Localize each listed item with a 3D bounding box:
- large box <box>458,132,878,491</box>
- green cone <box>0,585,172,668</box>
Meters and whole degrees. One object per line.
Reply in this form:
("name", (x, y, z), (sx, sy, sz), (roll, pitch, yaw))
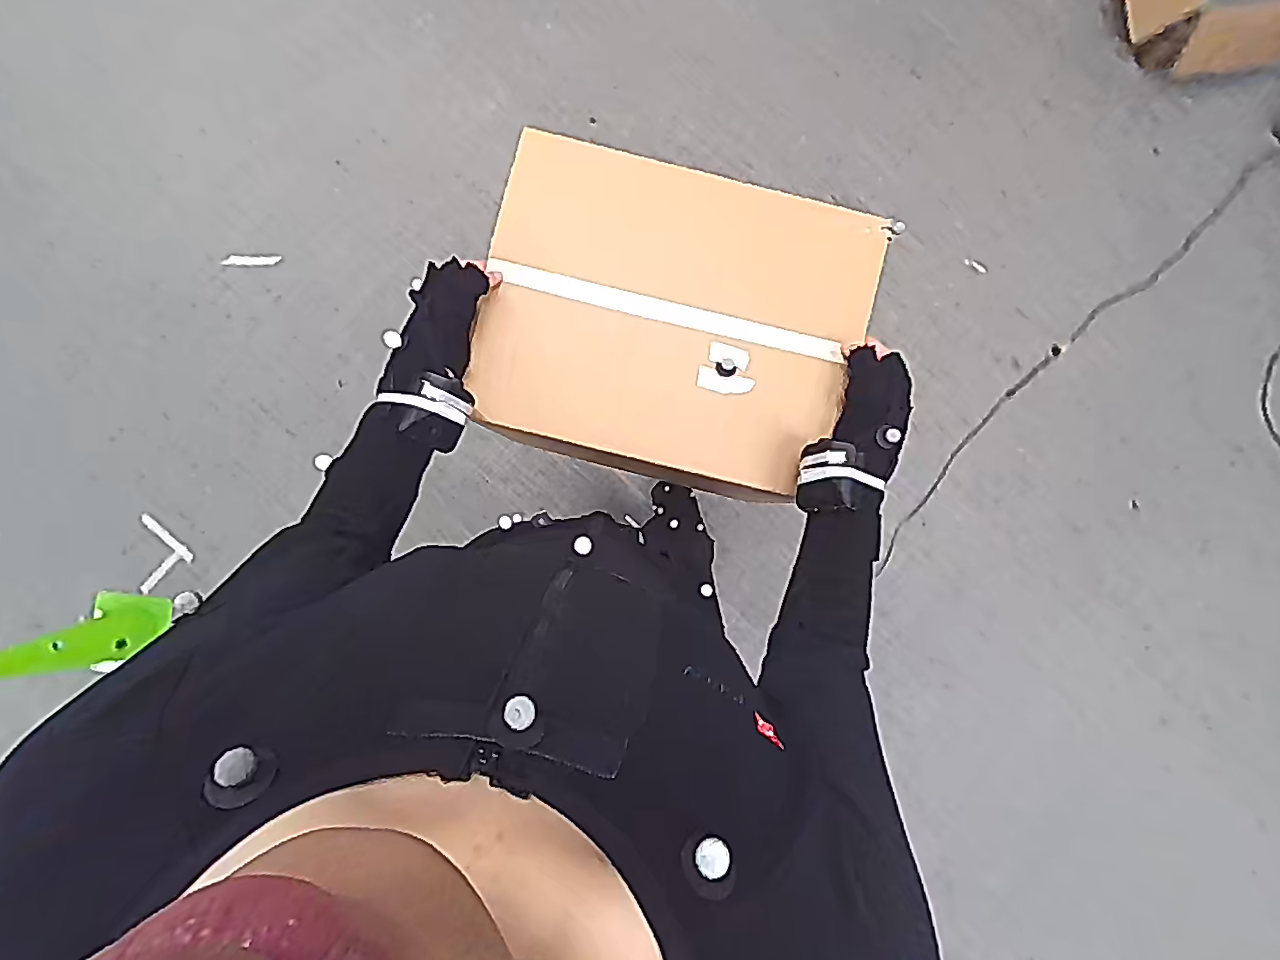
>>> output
("large box", (0.027, -0.177, 0.721), (0.408, 0.320, 0.320), (13, 88, -1))
("green cone", (-1.342, 0.373, 1.255), (0.202, 0.368, 0.200), (6, 86, 0))
